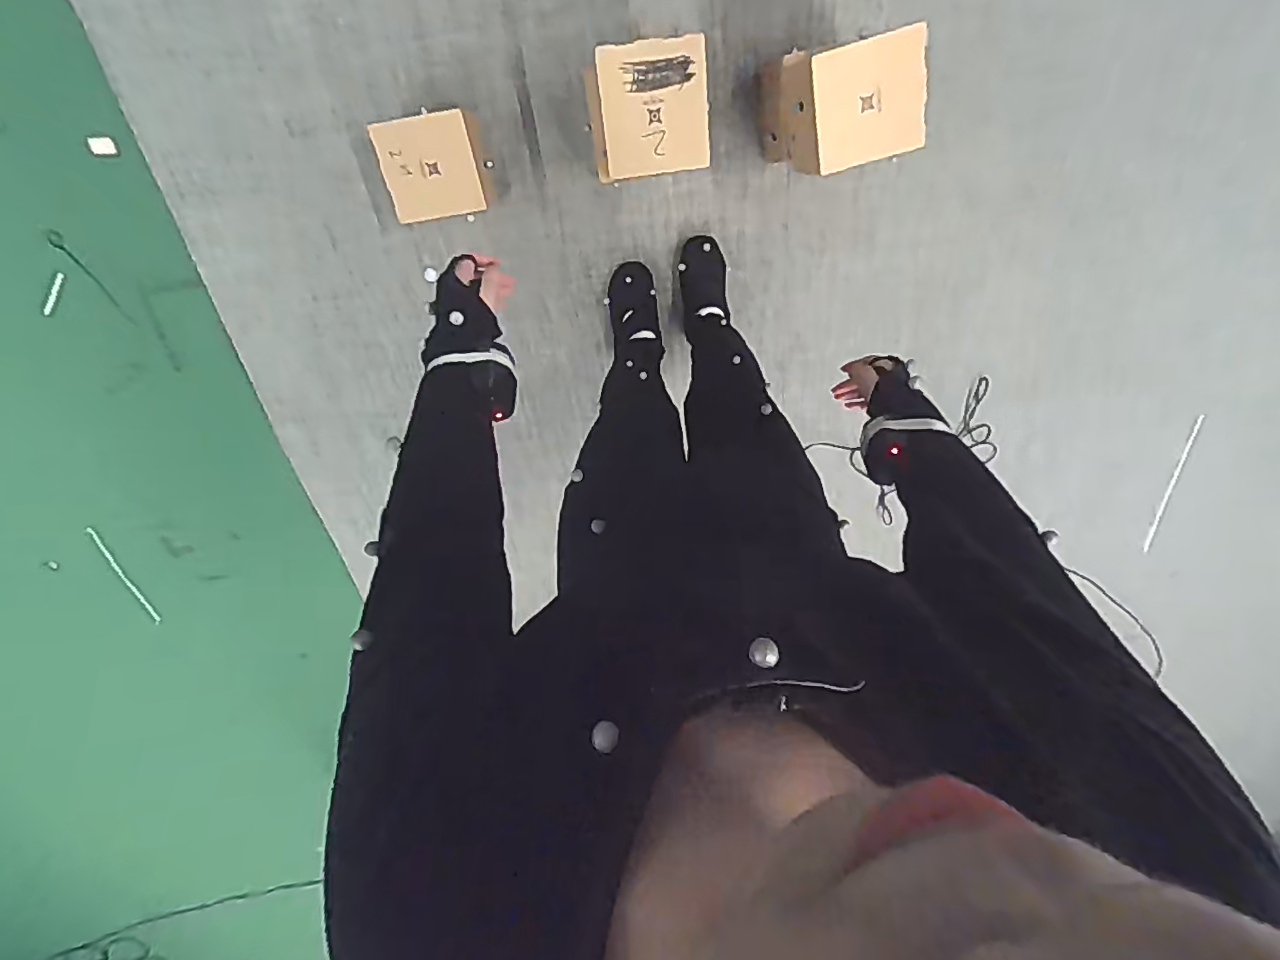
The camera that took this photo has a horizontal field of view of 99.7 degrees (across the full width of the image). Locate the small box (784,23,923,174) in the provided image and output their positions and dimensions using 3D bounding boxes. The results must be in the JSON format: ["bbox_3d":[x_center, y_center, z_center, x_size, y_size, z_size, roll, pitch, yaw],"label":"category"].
[{"bbox_3d":[0.353,-0.633,0.919,0.179,0.176,0.168,-14,120,5],"label":"small box"}]

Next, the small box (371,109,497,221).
[{"bbox_3d":[-0.393,-0.624,1.078,0.179,0.176,0.168,-8,119,2],"label":"small box"}]

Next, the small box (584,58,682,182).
[{"bbox_3d":[-0.011,-0.693,1.054,0.168,0.176,0.179,-7,119,1],"label":"small box"}]

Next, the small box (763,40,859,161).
[{"bbox_3d":[0.341,-0.727,1.051,0.179,0.176,0.168,-10,121,3],"label":"small box"}]
